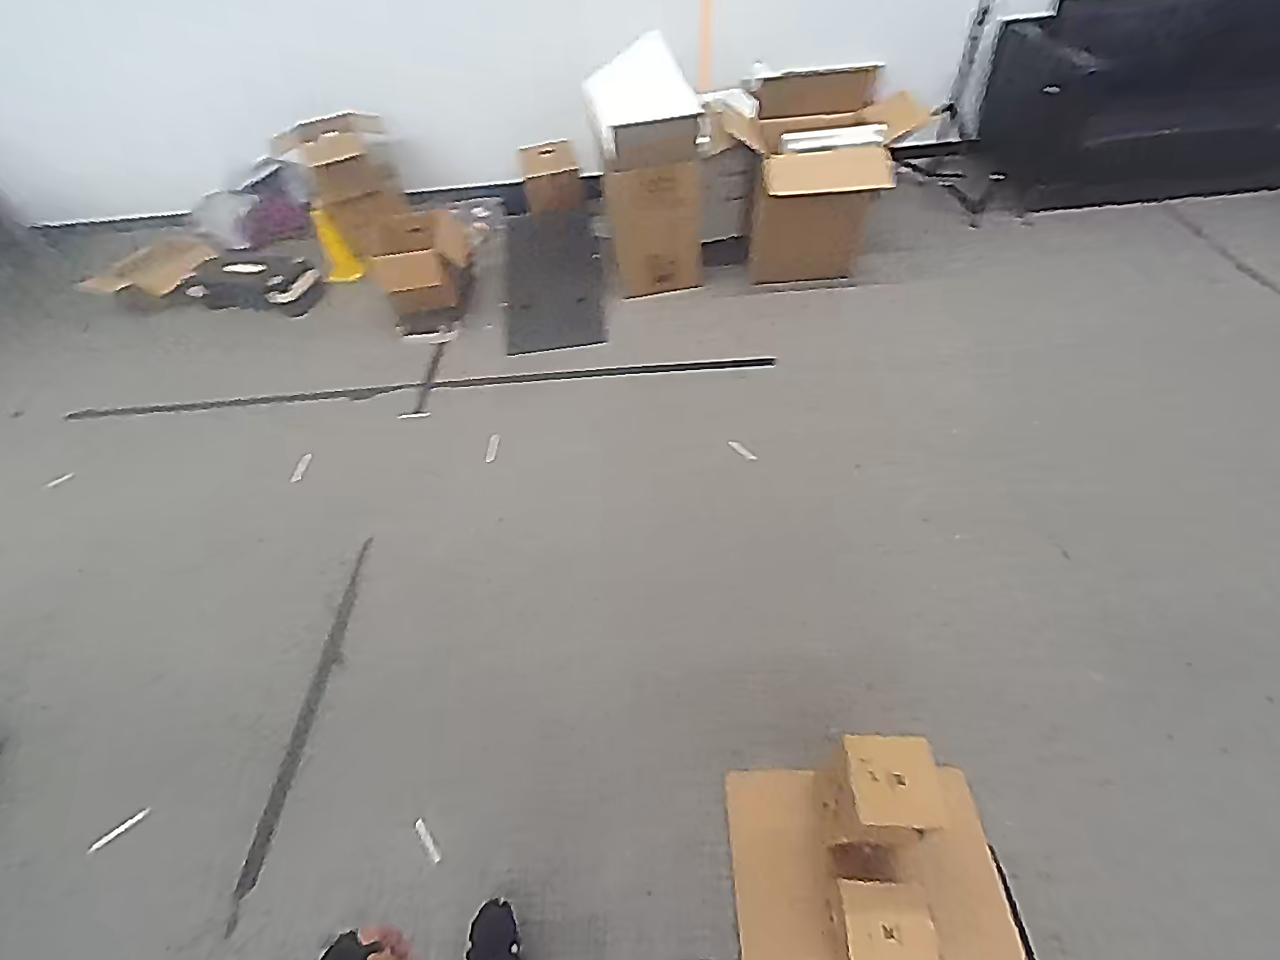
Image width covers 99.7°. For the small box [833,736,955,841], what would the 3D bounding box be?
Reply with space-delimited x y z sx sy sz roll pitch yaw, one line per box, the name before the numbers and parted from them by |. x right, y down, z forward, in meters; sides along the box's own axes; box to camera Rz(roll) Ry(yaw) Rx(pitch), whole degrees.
small box | 0.526 0.657 1.147 0.179 0.176 0.168 -1 50 6

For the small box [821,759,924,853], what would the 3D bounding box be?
small box | 0.532 0.768 1.270 0.179 0.176 0.168 -1 51 6

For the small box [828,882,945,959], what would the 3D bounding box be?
small box | 0.509 0.949 1.129 0.179 0.176 0.168 0 52 6
